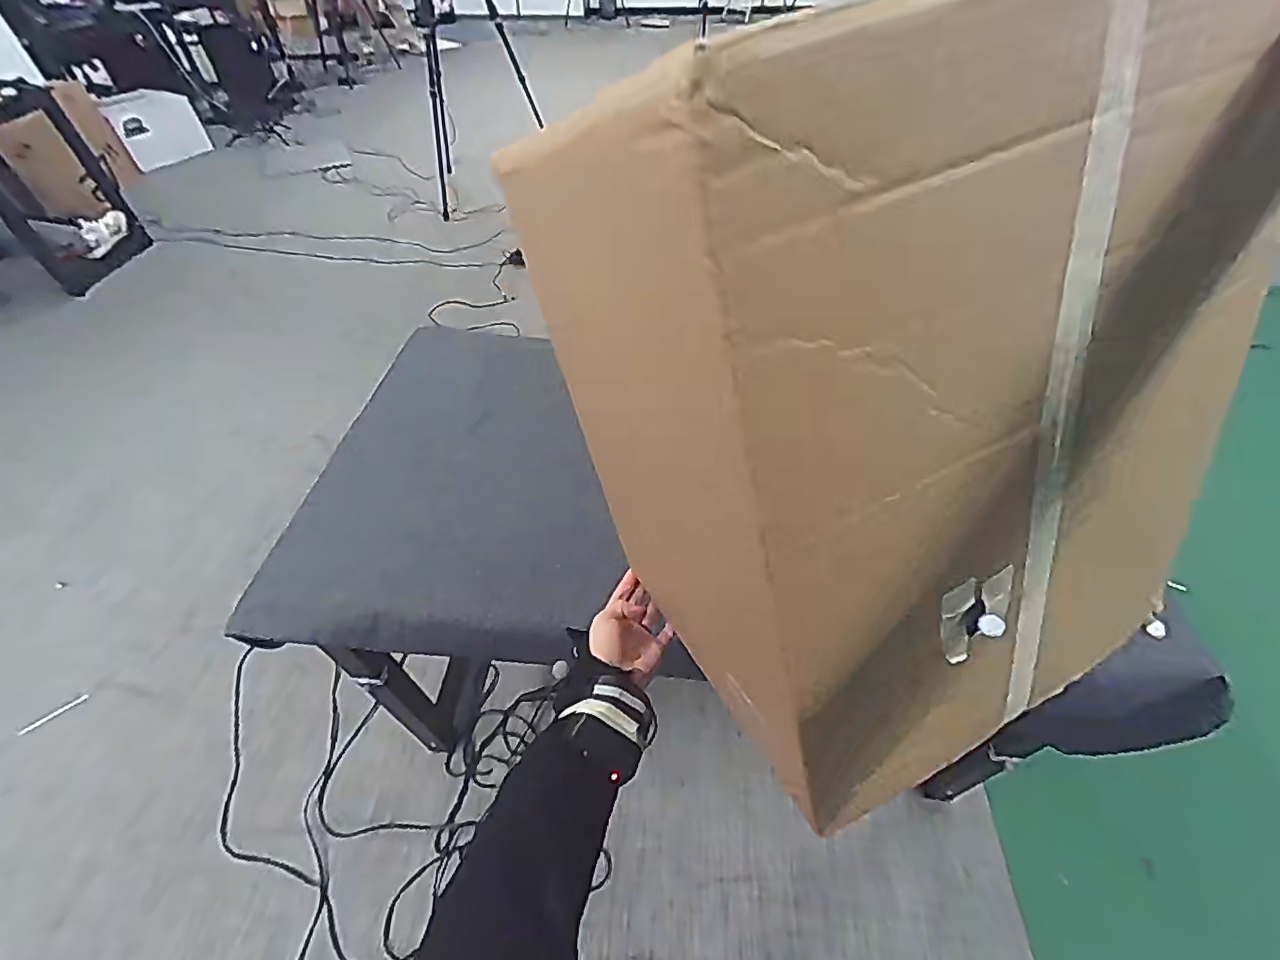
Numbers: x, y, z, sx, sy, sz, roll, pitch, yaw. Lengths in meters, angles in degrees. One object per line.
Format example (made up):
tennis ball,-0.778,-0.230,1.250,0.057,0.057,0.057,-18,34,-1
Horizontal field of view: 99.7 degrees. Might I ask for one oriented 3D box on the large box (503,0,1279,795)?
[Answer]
large box,0.140,-0.071,0.412,0.320,0.408,0.320,-25,33,-12
